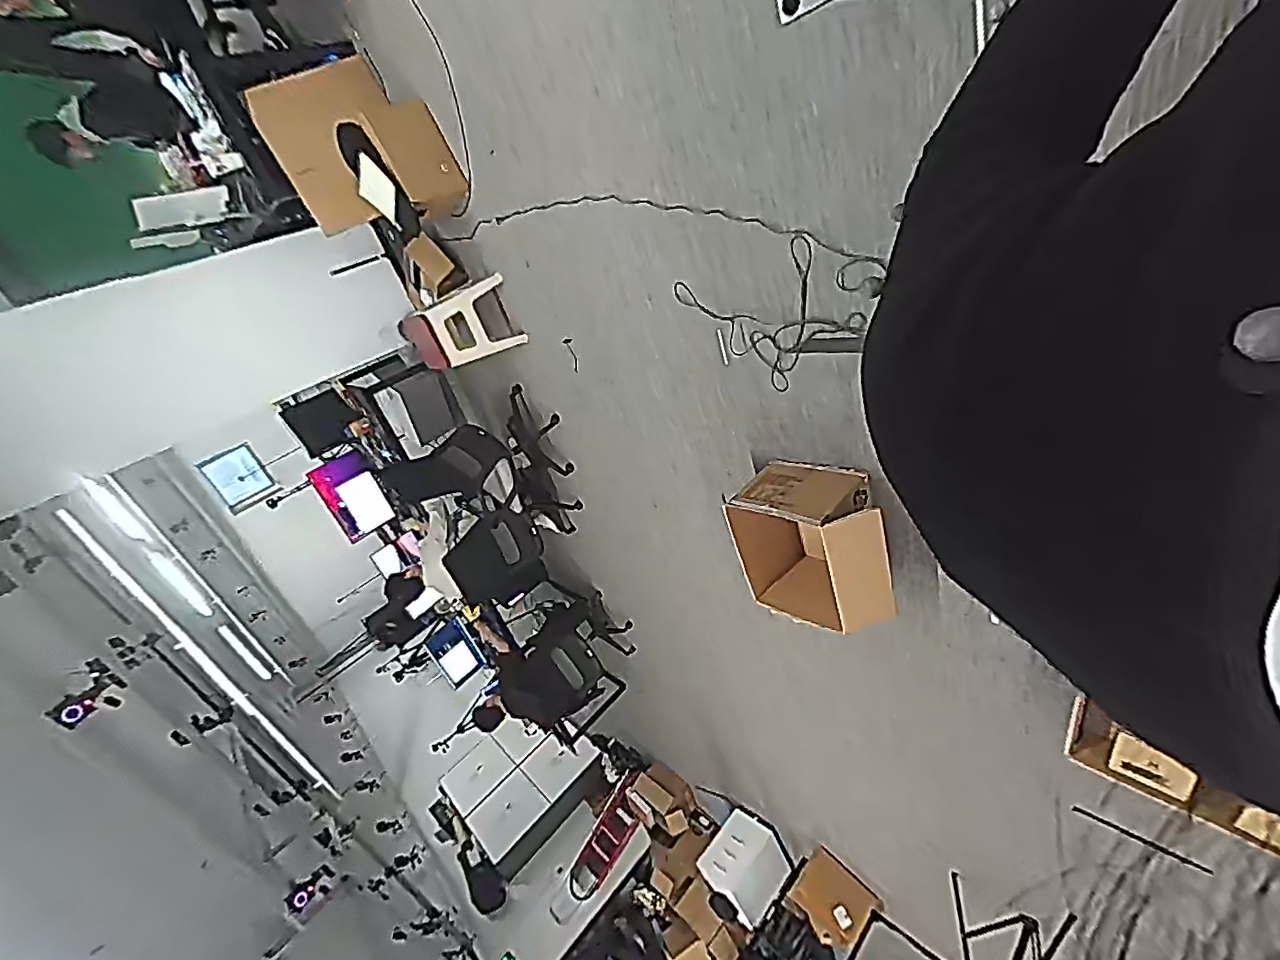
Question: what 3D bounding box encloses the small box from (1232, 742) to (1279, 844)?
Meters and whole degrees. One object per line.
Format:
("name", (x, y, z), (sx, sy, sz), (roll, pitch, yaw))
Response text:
("small box", (1.628, 0.794, 1.338), (0.179, 0.176, 0.168), (19, 134, 46))
